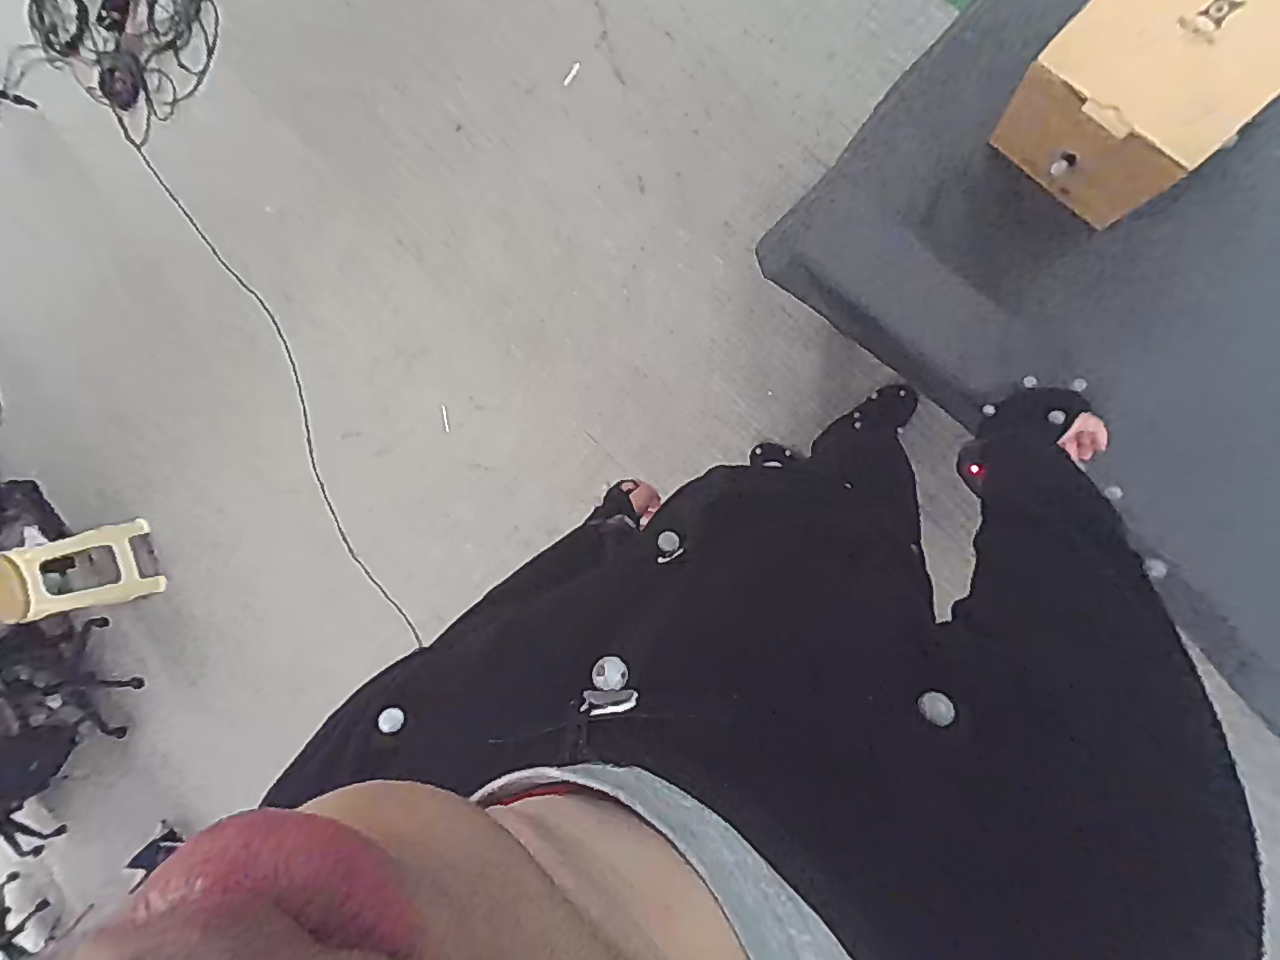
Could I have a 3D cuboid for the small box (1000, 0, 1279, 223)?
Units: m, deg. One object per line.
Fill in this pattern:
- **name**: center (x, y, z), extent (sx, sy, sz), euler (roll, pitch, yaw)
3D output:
- **small box**: center (0.486, -0.385, 0.520), extent (0.168, 0.176, 0.179), euler (46, 111, 8)
